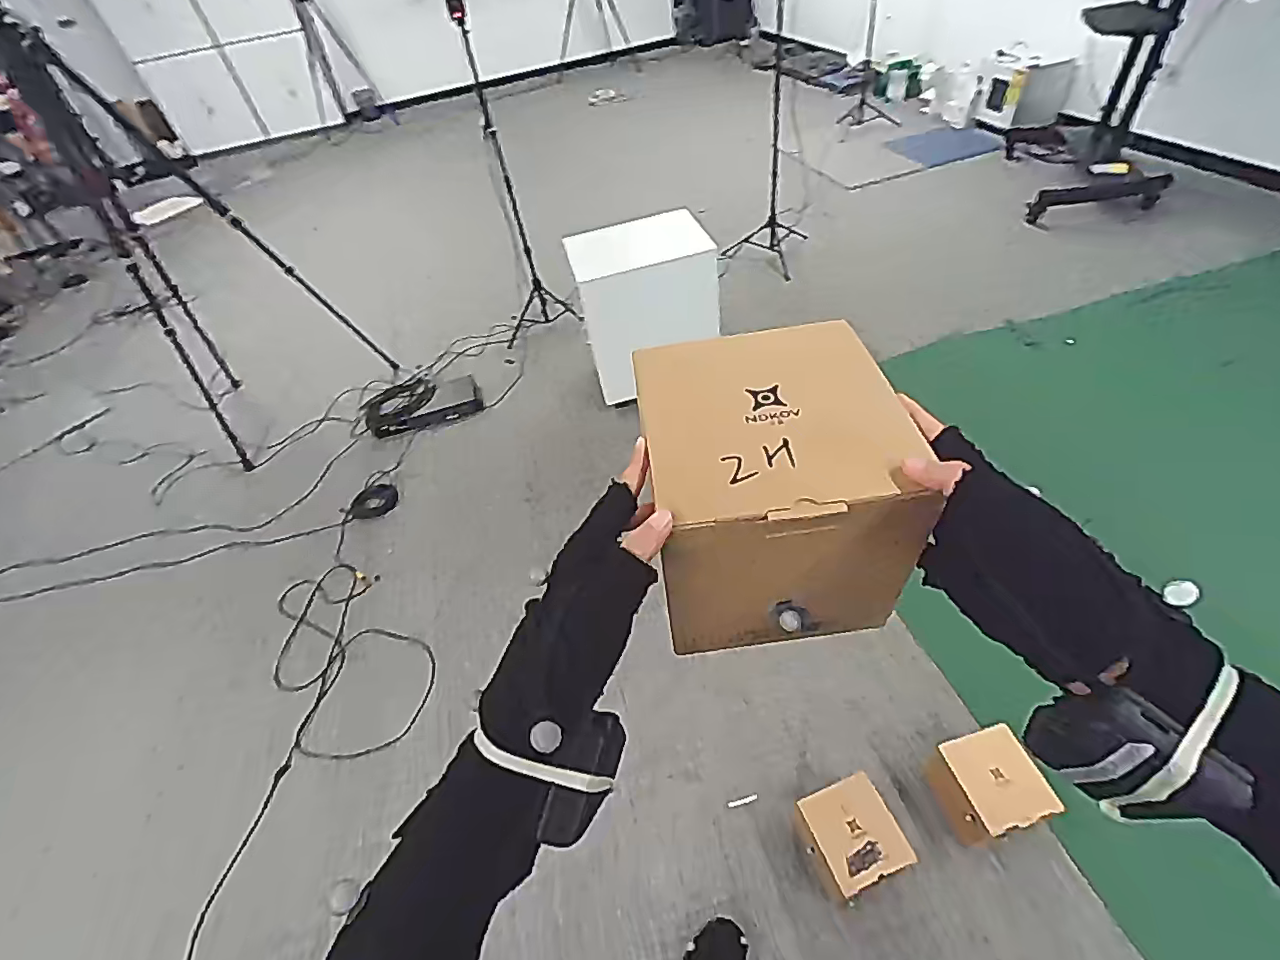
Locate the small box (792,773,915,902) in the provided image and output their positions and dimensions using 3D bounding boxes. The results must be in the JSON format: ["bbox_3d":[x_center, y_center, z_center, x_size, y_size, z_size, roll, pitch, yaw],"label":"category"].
[{"bbox_3d":[0.442,0.764,1.148,0.168,0.176,0.179,-19,47,-9],"label":"small box"}]

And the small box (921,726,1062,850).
[{"bbox_3d":[0.751,0.674,1.182,0.168,0.176,0.179,-16,47,-5],"label":"small box"}]
